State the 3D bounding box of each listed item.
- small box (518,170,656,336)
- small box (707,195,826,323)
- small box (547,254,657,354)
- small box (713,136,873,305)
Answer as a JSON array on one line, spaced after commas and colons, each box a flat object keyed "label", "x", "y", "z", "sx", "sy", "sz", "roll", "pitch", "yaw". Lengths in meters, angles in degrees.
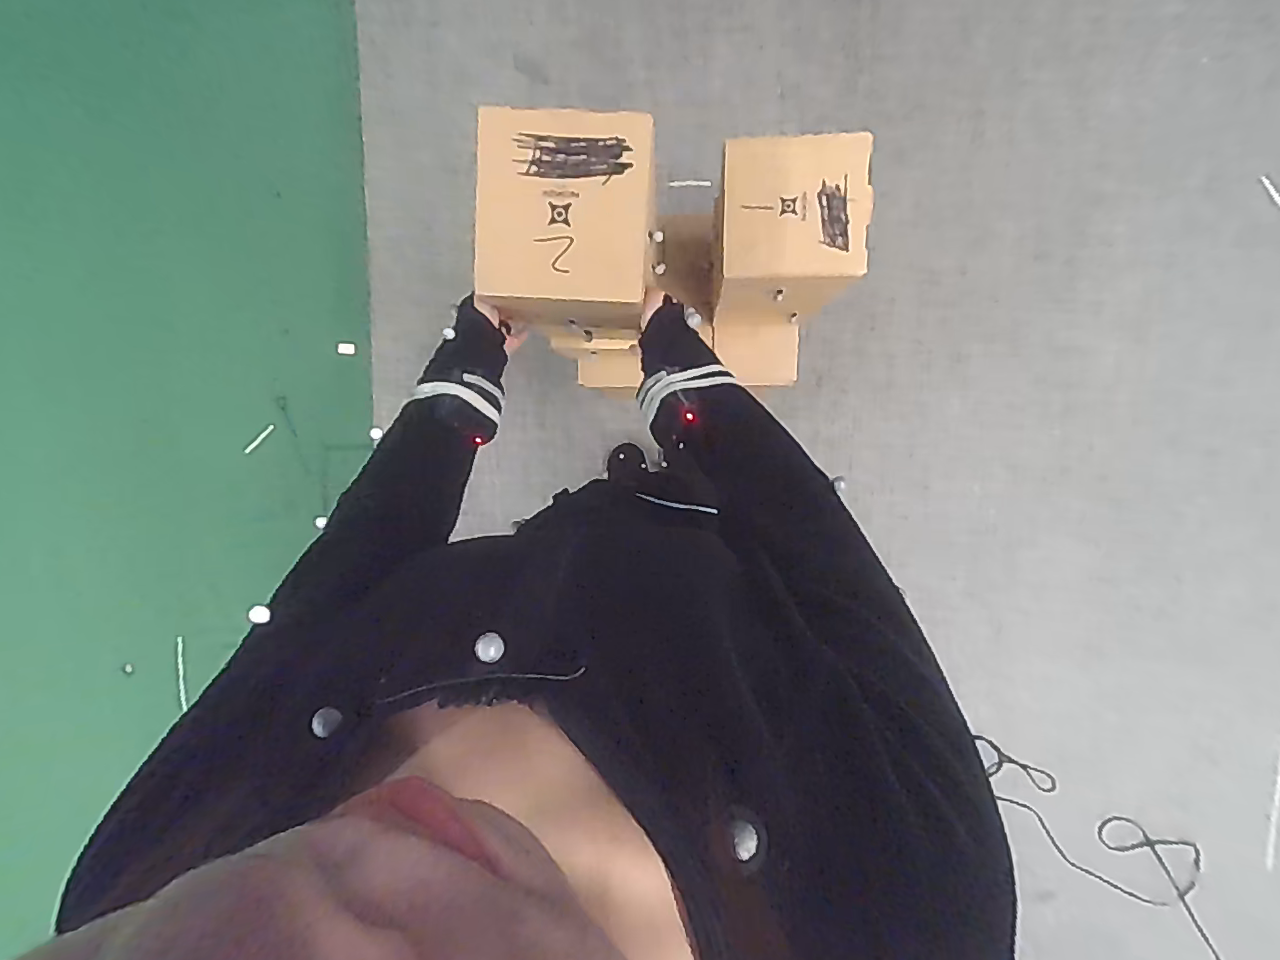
[{"label": "small box", "x": -0.066, "y": -0.302, "z": 0.757, "sx": 0.168, "sy": 0.176, "sz": 0.179, "roll": 4, "pitch": 98, "yaw": 1}, {"label": "small box", "x": 0.205, "y": -0.360, "z": 0.899, "sx": 0.179, "sy": 0.176, "sz": 0.168, "roll": 1, "pitch": 97, "yaw": 5}, {"label": "small box", "x": -0.058, "y": -0.311, "z": 0.921, "sx": 0.168, "sy": 0.176, "sz": 0.179, "roll": 2, "pitch": 98, "yaw": 2}, {"label": "small box", "x": 0.195, "y": -0.340, "z": 0.736, "sx": 0.179, "sy": 0.176, "sz": 0.168, "roll": 2, "pitch": 97, "yaw": 5}]
